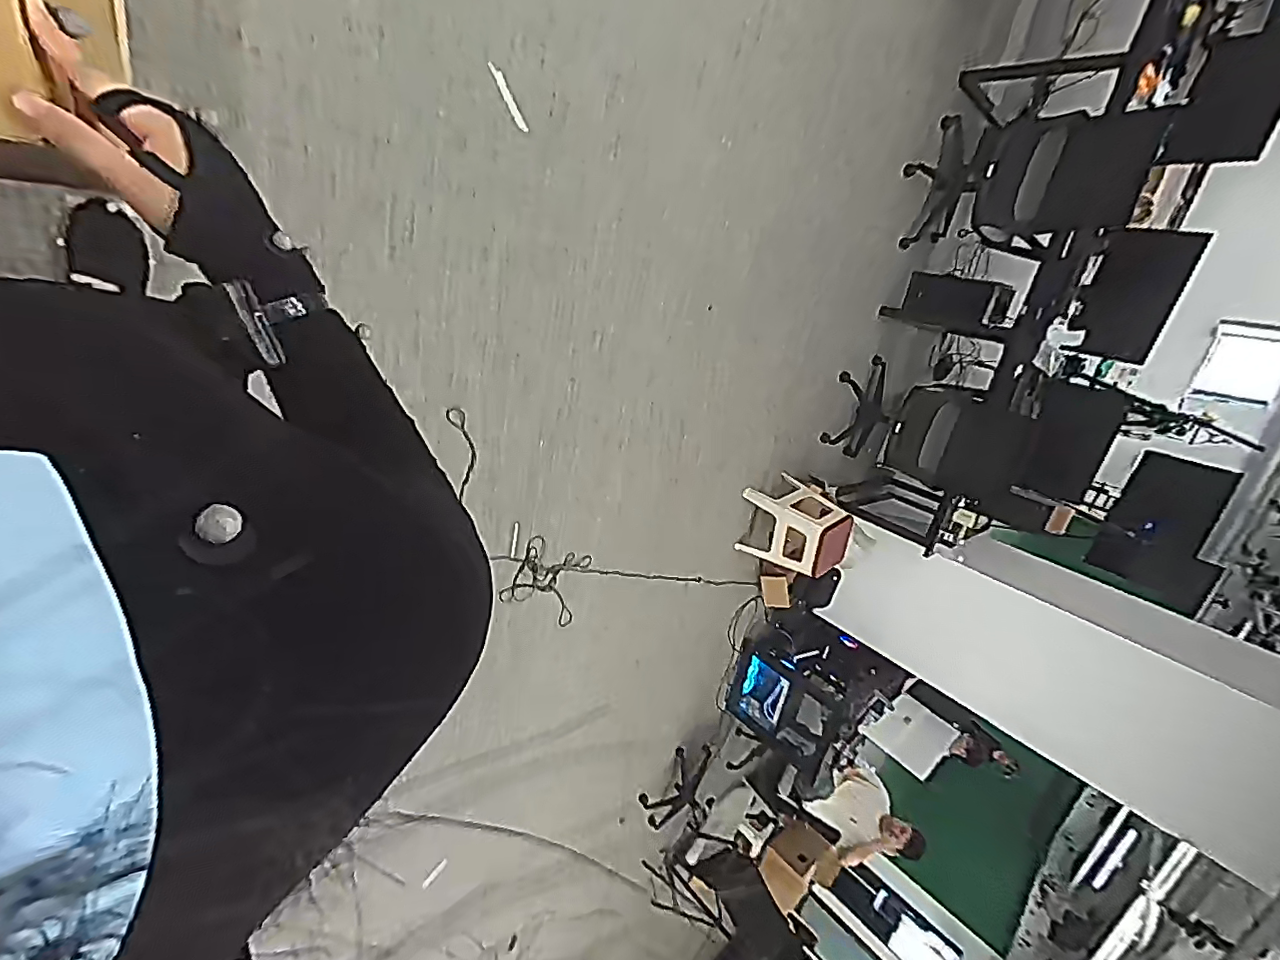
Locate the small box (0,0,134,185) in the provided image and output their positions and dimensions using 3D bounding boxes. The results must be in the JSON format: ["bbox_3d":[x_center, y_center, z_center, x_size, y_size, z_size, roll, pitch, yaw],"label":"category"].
[{"bbox_3d":[-0.453,-0.304,0.331,0.168,0.176,0.179,-4,109,-28],"label":"small box"}]
